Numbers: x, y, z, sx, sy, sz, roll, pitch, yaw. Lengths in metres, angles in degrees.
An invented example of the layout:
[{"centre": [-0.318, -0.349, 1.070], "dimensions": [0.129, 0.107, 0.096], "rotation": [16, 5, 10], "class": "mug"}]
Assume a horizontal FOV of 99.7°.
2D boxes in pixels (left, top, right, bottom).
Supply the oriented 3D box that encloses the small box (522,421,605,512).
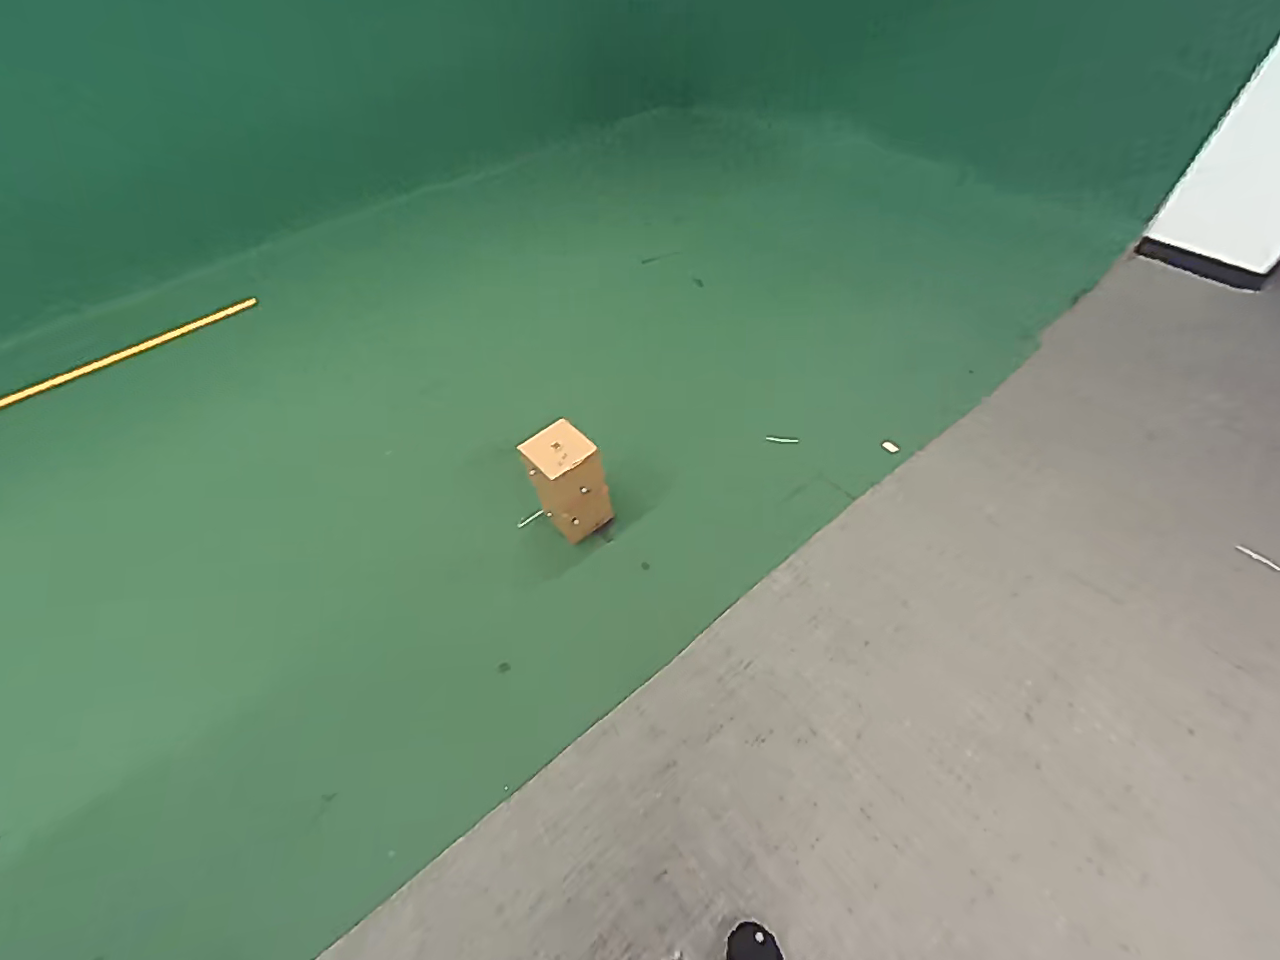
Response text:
[{"centre": [-0.223, -0.037, 1.605], "dimensions": [0.168, 0.176, 0.179], "rotation": [-36, 58, -21], "class": "small box"}]
